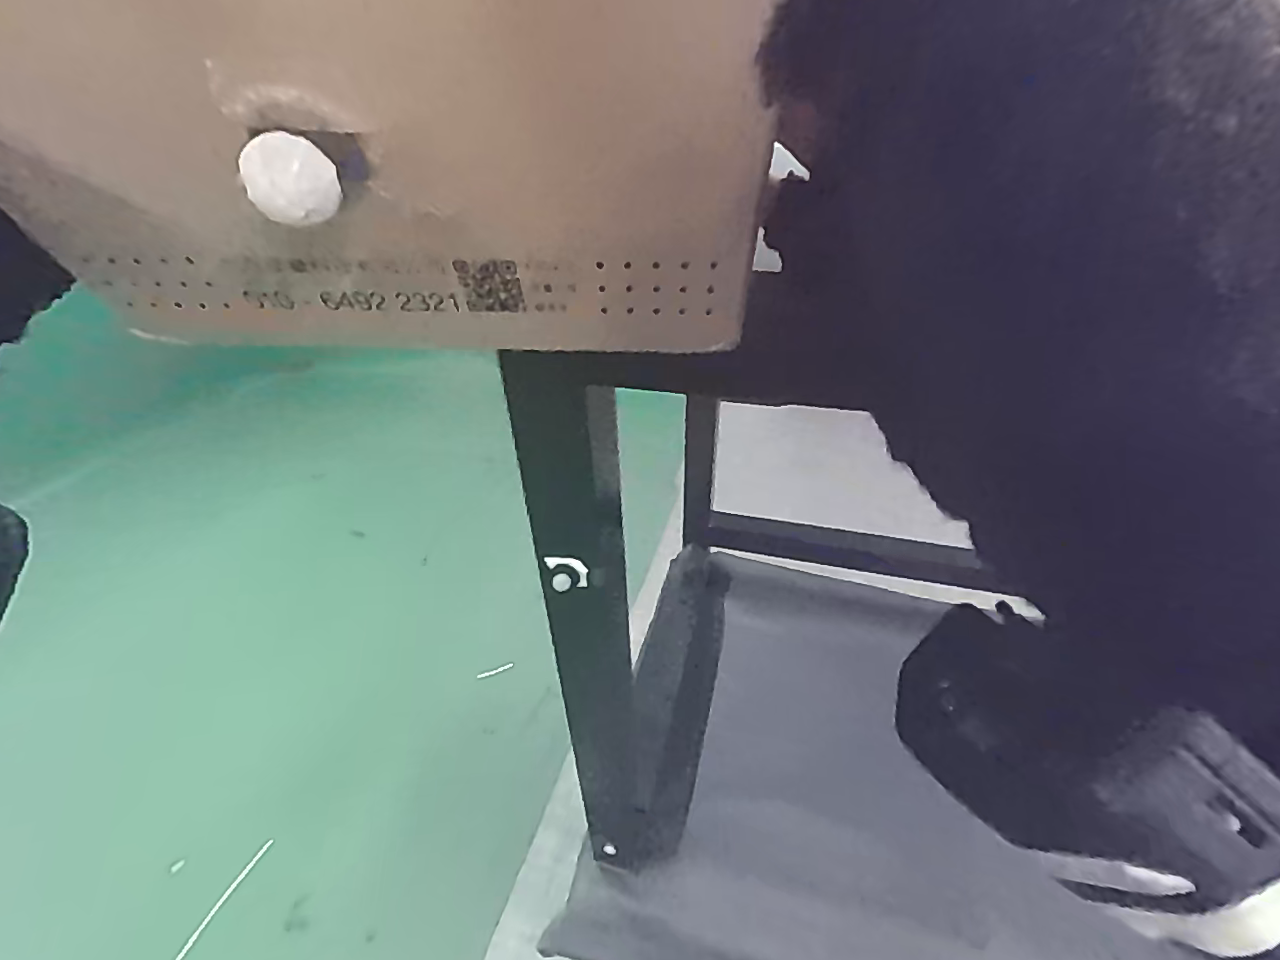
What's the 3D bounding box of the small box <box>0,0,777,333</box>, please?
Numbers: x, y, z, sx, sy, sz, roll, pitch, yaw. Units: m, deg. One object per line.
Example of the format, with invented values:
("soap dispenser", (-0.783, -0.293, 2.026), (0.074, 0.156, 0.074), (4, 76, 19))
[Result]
("small box", (-0.054, -0.161, 0.133), (0.168, 0.176, 0.179), (1, 57, 2))
